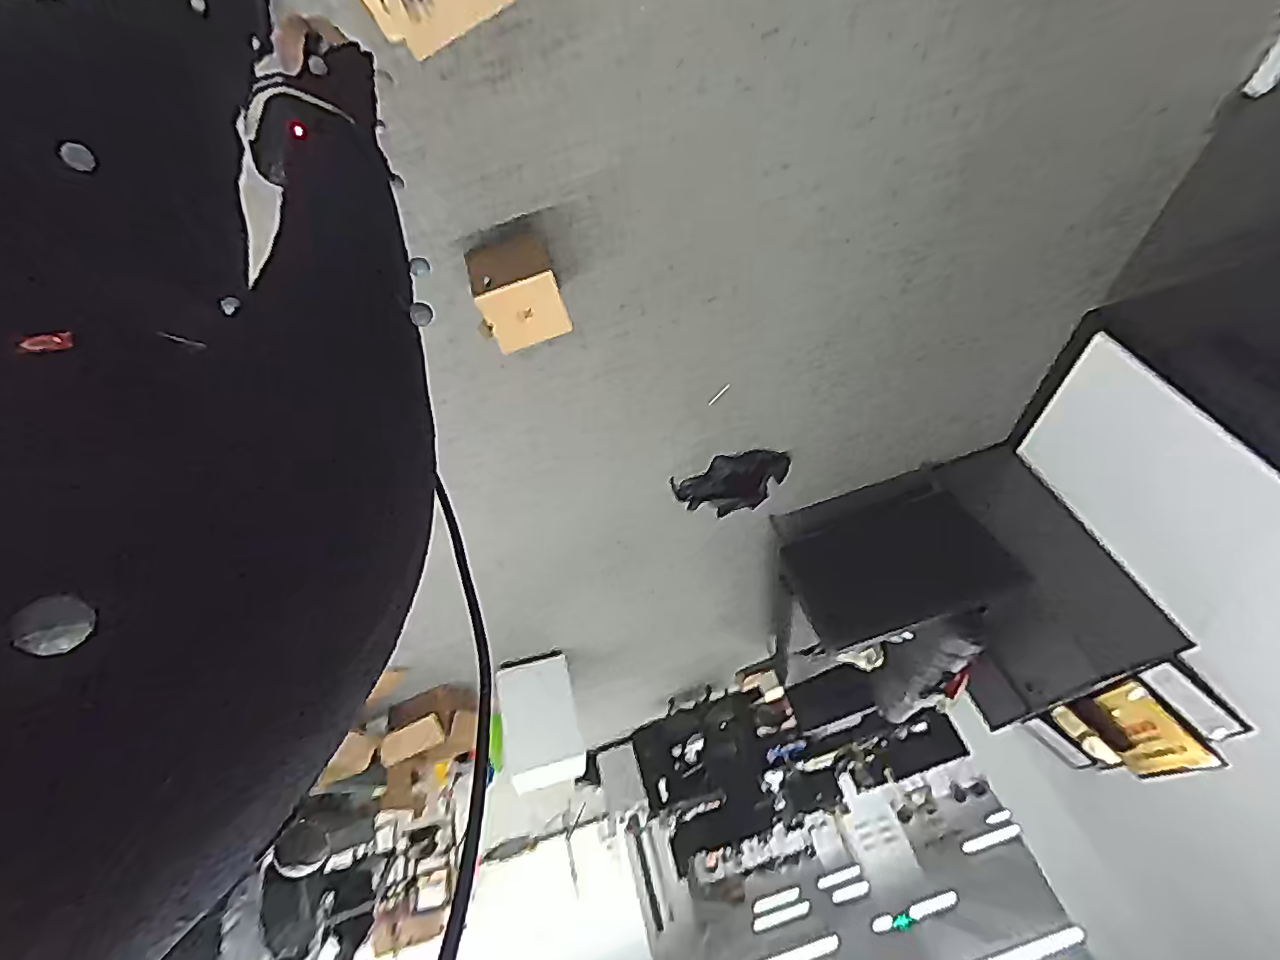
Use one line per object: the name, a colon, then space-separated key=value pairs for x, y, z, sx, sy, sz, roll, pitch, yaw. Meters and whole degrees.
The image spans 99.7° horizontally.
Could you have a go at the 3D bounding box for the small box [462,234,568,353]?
small box: x=-0.286 y=-0.428 z=1.238 sx=0.179 sy=0.176 sz=0.168 roll=-20 pitch=146 yaw=0
